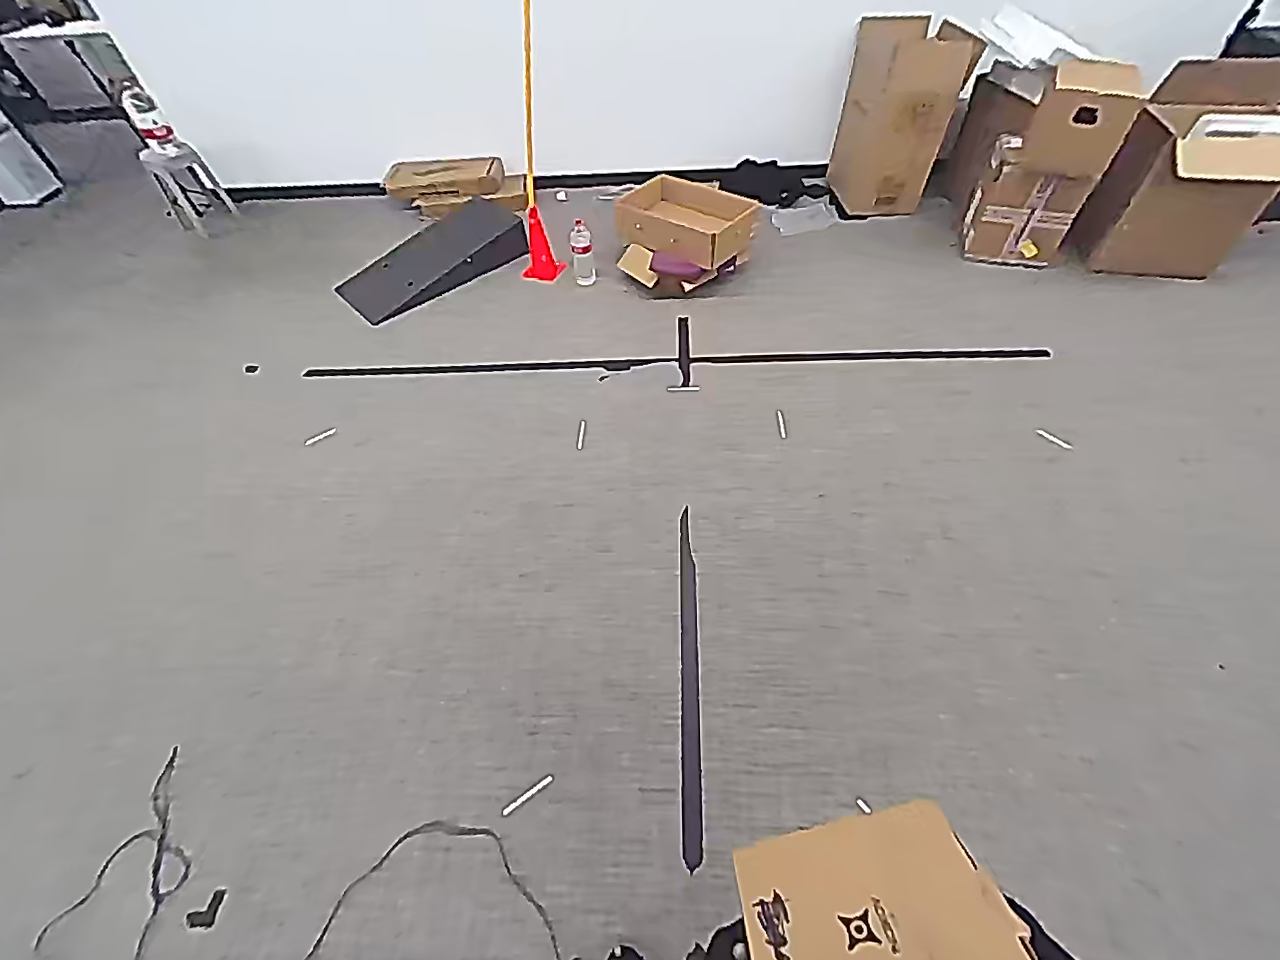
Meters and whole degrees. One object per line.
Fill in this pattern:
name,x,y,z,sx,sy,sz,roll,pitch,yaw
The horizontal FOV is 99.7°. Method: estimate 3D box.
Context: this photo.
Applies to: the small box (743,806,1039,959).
small box,0.192,0.392,0.403,0.179,0.176,0.168,-17,14,5
